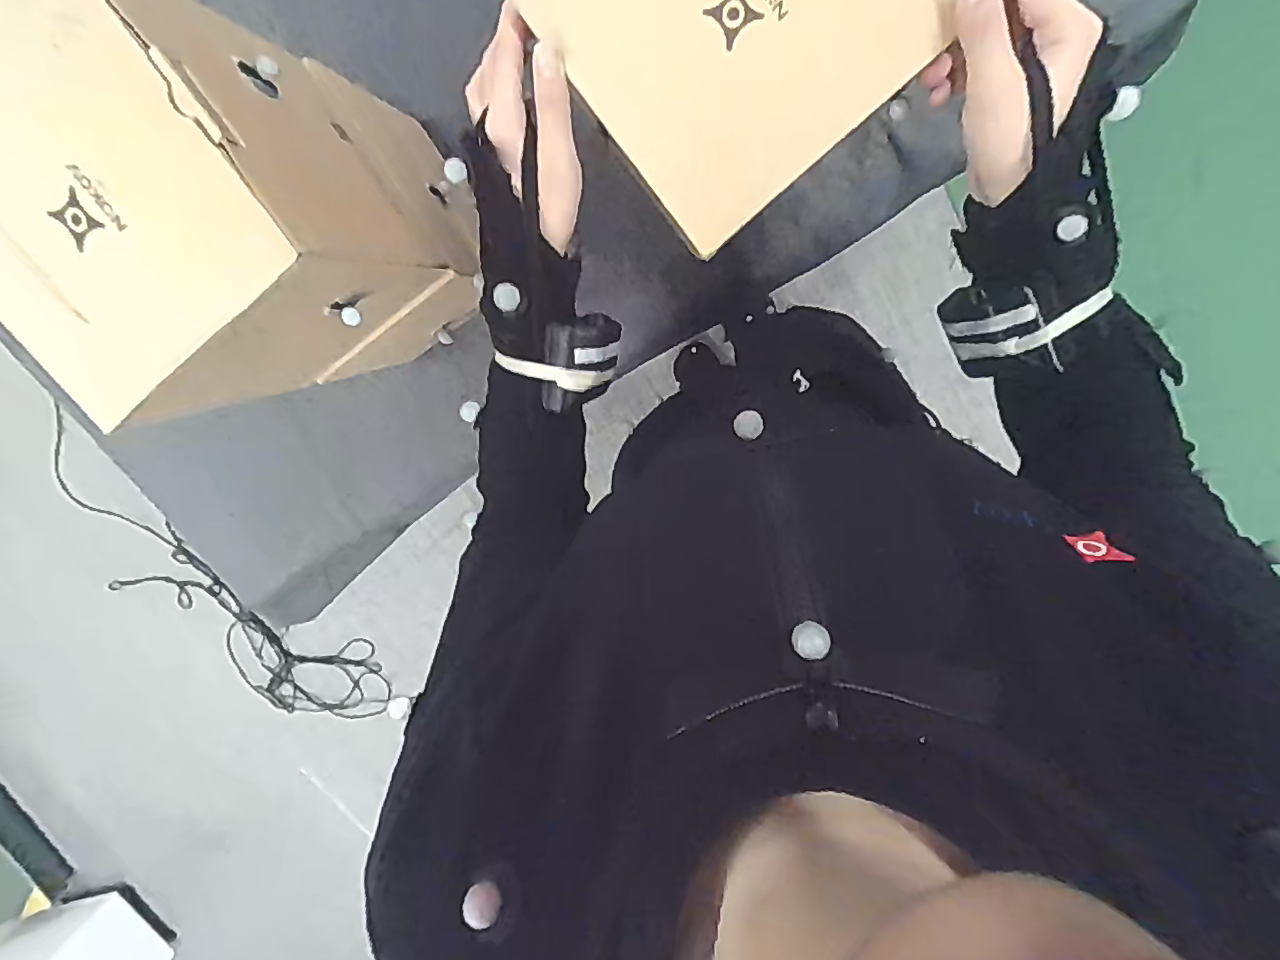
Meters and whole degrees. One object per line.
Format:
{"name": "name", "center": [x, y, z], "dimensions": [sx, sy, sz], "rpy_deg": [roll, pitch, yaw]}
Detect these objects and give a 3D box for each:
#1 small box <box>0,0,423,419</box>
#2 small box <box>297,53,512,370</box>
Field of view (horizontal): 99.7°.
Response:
{"name": "small box", "center": [-0.272, -0.168, 0.350], "dimensions": [0.179, 0.176, 0.168], "rpy_deg": [-31, 102, 17]}
{"name": "small box", "center": [-0.251, -0.226, 0.501], "dimensions": [0.168, 0.176, 0.179], "rpy_deg": [-30, 104, 15]}
